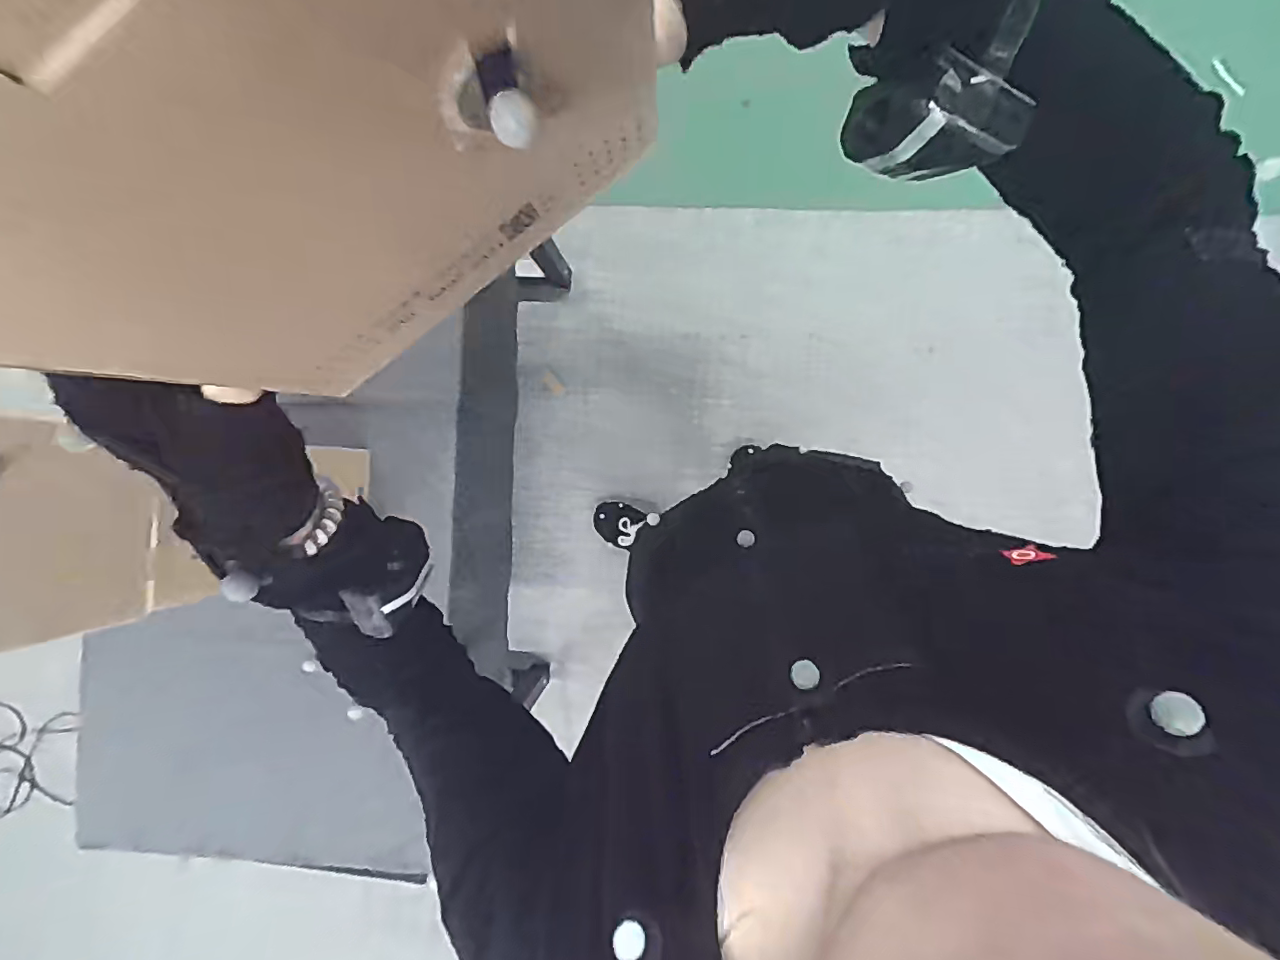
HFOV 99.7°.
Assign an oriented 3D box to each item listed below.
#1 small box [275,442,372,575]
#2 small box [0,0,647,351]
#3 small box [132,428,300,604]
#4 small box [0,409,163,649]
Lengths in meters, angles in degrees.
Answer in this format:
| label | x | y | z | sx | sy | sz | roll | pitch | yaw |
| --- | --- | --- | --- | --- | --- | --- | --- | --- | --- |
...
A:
| label | x | y | z | sx | sy | sz | roll | pitch | yaw |
| --- | --- | --- | --- | --- | --- | --- | --- | --- | --- |
| small box | -0.499 | 0.030 | 0.751 | 0.179 | 0.176 | 0.168 | 3 | 91 | 7 |
| small box | -0.109 | -0.150 | 0.144 | 0.168 | 0.176 | 0.179 | -34 | 93 | 6 |
| small box | -0.516 | 0.030 | 0.590 | 0.179 | 0.176 | 0.168 | 3 | 91 | 6 |
| small box | -0.530 | 0.030 | 0.426 | 0.168 | 0.176 | 0.179 | 4 | 91 | 6 |
